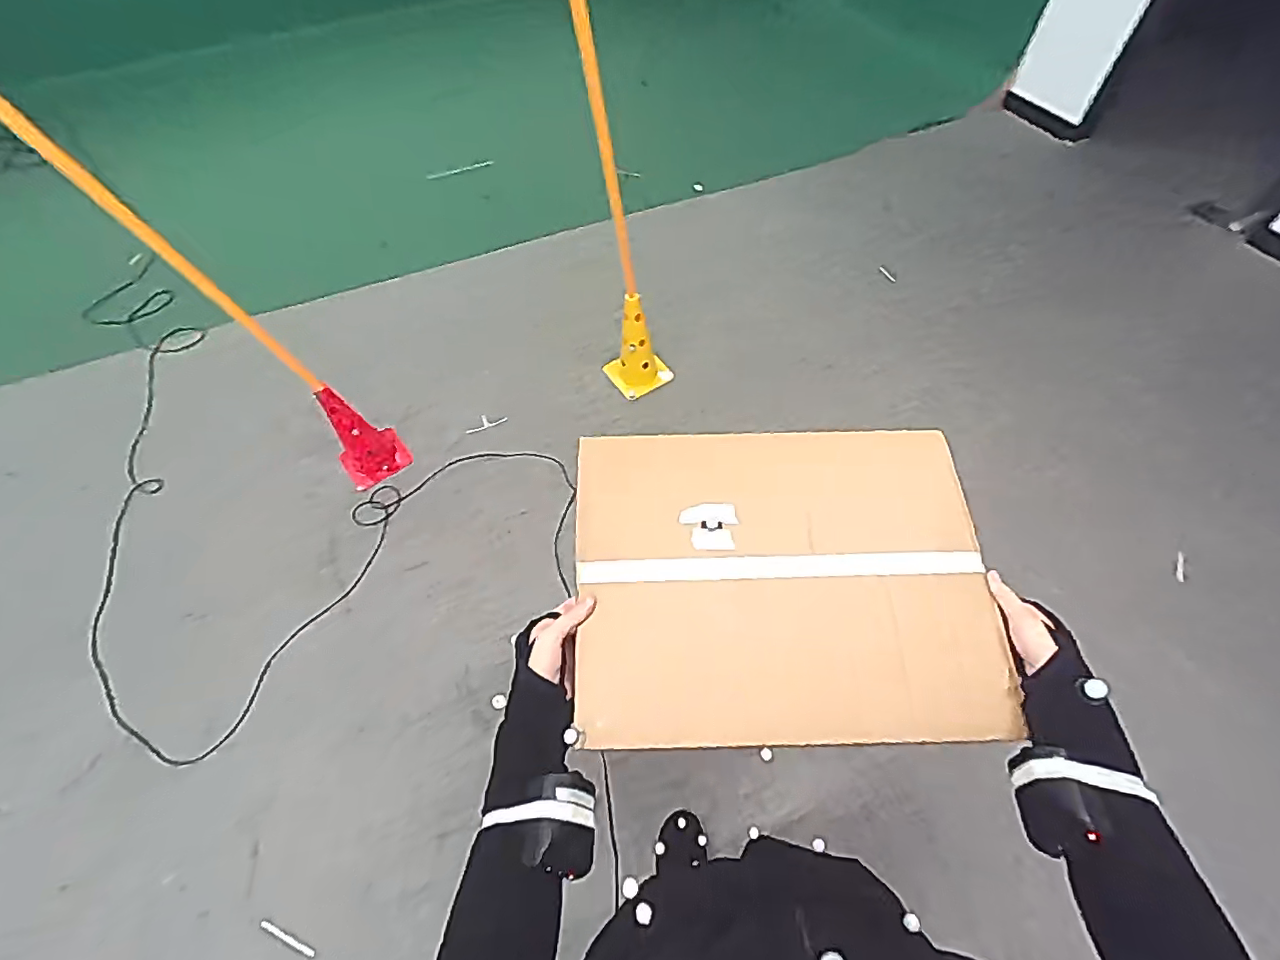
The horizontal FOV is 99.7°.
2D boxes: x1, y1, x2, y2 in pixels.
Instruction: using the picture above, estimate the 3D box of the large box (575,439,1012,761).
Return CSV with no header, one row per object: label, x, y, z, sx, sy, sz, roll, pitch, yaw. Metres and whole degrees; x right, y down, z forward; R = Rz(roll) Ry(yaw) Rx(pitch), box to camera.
large box,0.138,0.166,0.683,0.408,0.320,0.320,-3,64,0
